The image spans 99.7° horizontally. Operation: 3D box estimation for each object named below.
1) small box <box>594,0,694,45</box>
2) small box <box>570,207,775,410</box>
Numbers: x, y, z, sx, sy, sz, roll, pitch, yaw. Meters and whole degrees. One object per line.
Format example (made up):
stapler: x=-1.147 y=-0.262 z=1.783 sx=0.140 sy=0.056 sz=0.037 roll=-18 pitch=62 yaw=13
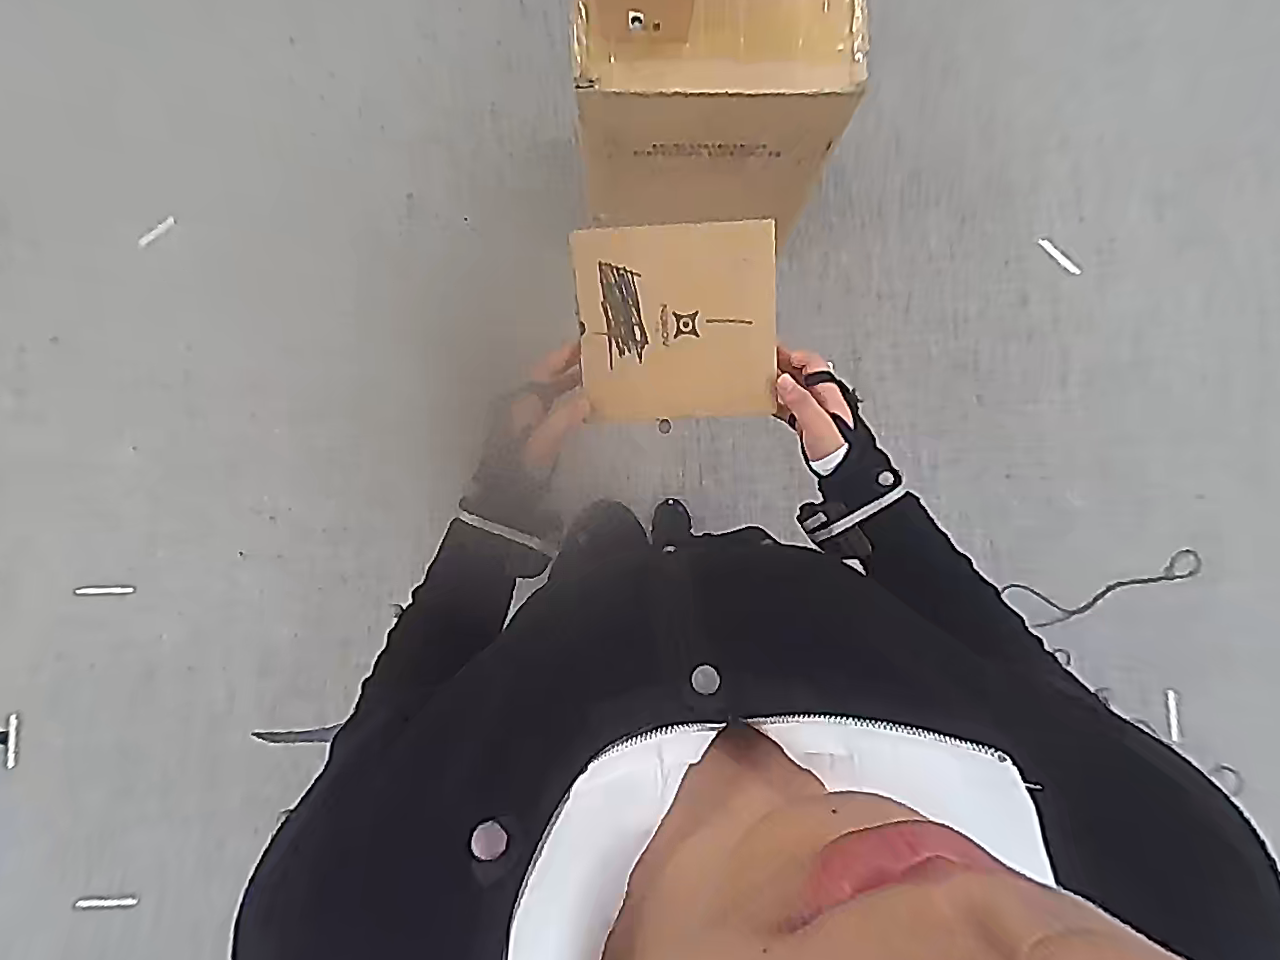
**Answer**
small box: x=0.007 y=-0.861 z=0.876 sx=0.168 sy=0.176 sz=0.179 roll=-1 pitch=89 yaw=-1
small box: x=0.031 y=-0.157 z=0.550 sx=0.179 sy=0.176 sz=0.168 roll=-3 pitch=98 yaw=1
